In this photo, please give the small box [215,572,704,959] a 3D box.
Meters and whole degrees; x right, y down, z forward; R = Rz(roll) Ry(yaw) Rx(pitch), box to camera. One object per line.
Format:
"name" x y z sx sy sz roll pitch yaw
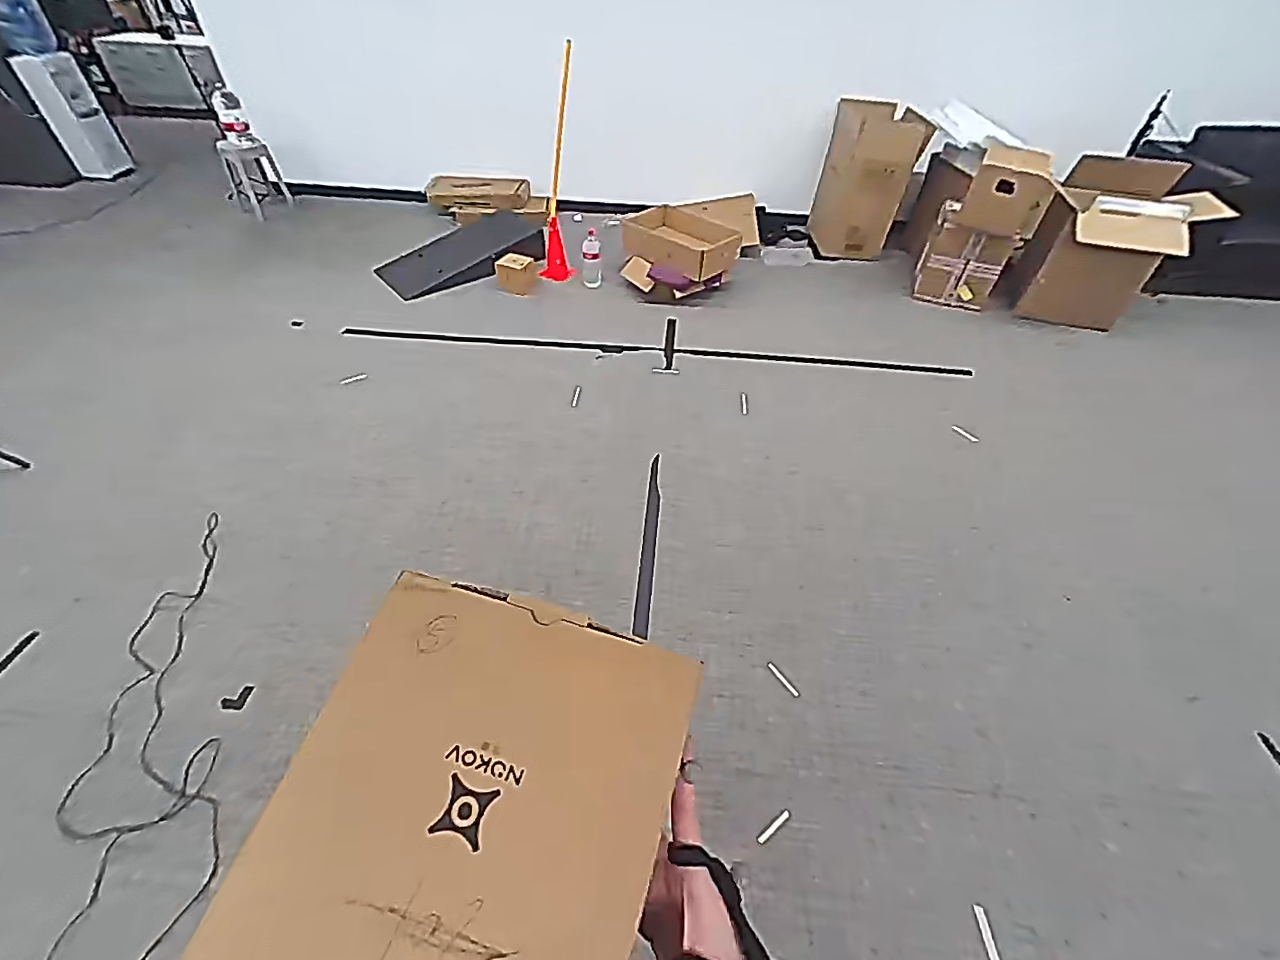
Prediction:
"small box" -0.069 0.182 0.313 0.168 0.176 0.179 15 61 10
